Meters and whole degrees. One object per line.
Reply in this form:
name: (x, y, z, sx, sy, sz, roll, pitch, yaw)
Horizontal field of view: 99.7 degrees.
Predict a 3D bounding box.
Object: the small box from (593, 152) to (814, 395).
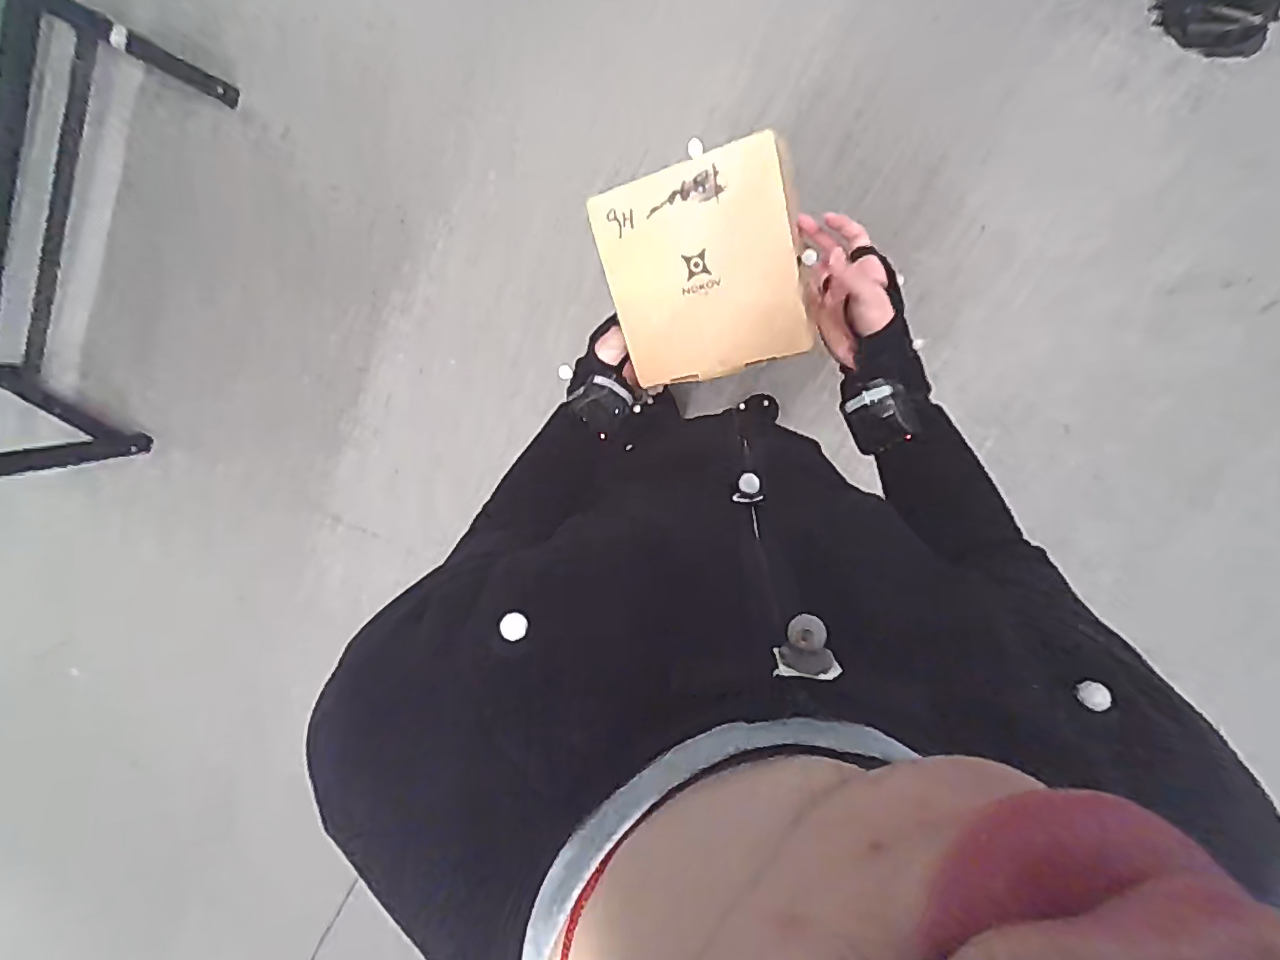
small box: (0.079, -0.207, 0.549, 0.168, 0.176, 0.179, -9, 113, 23)
